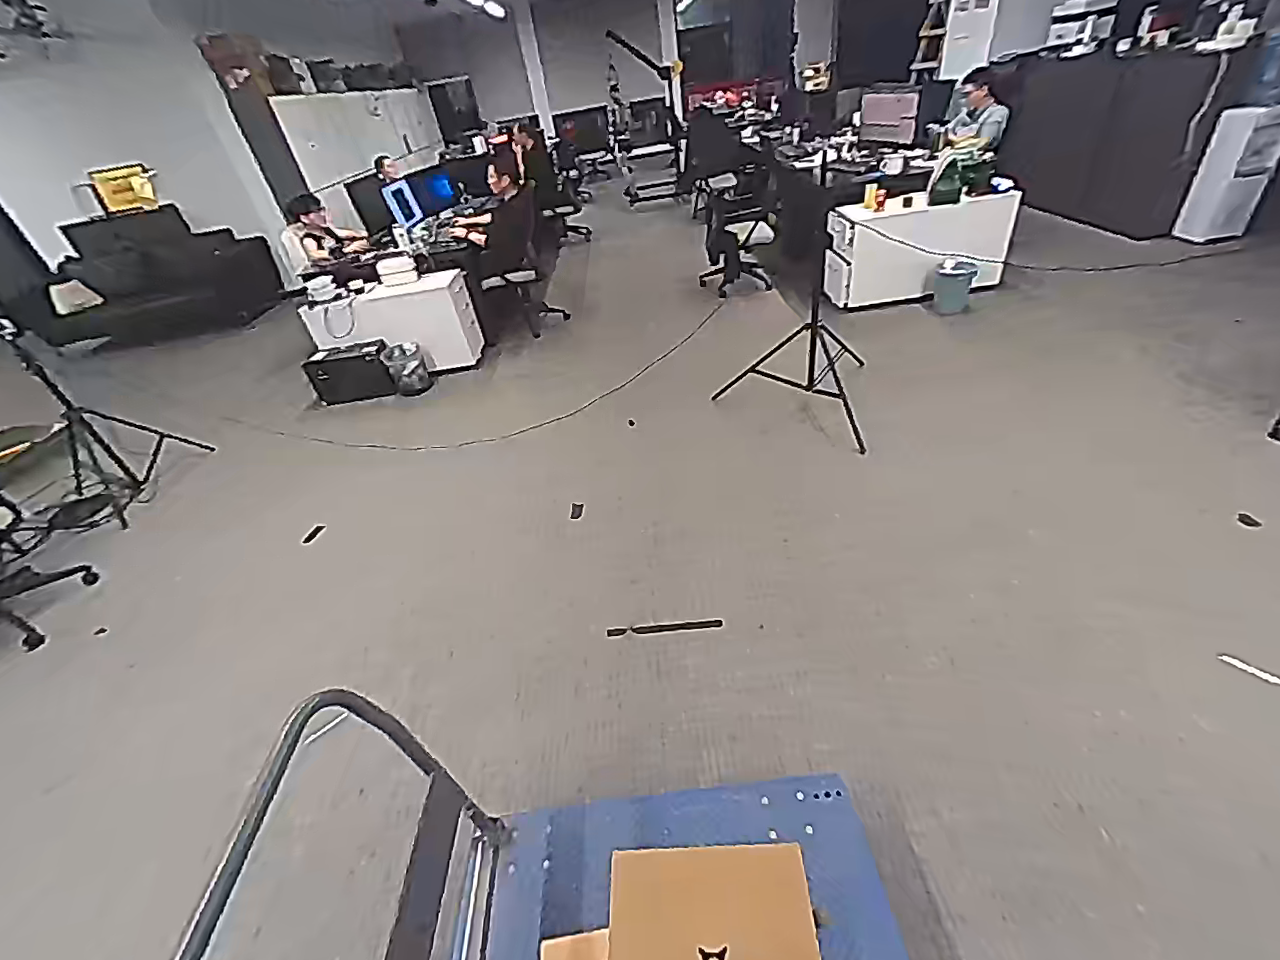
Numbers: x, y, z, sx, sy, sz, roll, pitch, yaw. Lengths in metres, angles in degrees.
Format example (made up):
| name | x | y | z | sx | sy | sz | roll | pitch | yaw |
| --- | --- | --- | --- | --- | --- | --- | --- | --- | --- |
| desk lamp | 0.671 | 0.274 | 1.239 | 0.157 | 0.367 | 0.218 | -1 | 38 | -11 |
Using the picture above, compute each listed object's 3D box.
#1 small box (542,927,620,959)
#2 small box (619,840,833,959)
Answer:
| name | x | y | z | sx | sy | sz | roll | pitch | yaw |
| --- | --- | --- | --- | --- | --- | --- | --- | --- | --- |
| small box | -0.072 | 0.906 | 0.923 | 0.168 | 0.176 | 0.179 | -11 | 37 | -1 |
| small box | 0.075 | 0.430 | 0.456 | 0.168 | 0.176 | 0.179 | -7 | 42 | 7 |
